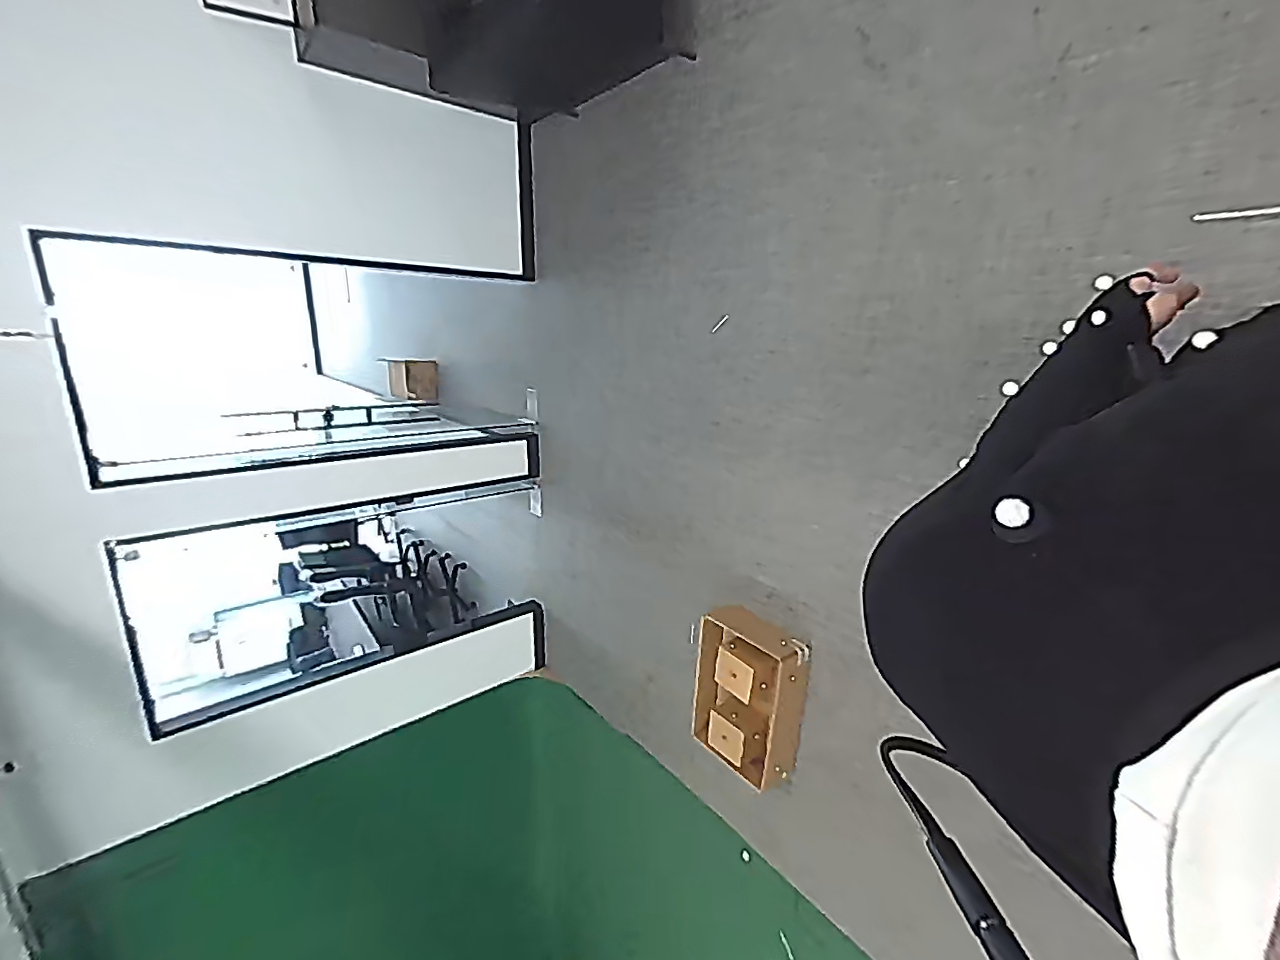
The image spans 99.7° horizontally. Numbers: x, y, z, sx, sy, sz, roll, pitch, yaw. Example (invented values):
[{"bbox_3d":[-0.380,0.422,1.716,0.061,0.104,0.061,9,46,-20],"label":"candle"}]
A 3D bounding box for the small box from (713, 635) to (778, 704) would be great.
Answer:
[{"bbox_3d":[0.417,0.736,2.127,0.179,0.176,0.168,25,117,46],"label":"small box"}]

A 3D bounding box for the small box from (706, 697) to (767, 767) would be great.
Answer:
[{"bbox_3d":[0.397,1.024,2.213,0.179,0.176,0.168,20,112,48],"label":"small box"}]
